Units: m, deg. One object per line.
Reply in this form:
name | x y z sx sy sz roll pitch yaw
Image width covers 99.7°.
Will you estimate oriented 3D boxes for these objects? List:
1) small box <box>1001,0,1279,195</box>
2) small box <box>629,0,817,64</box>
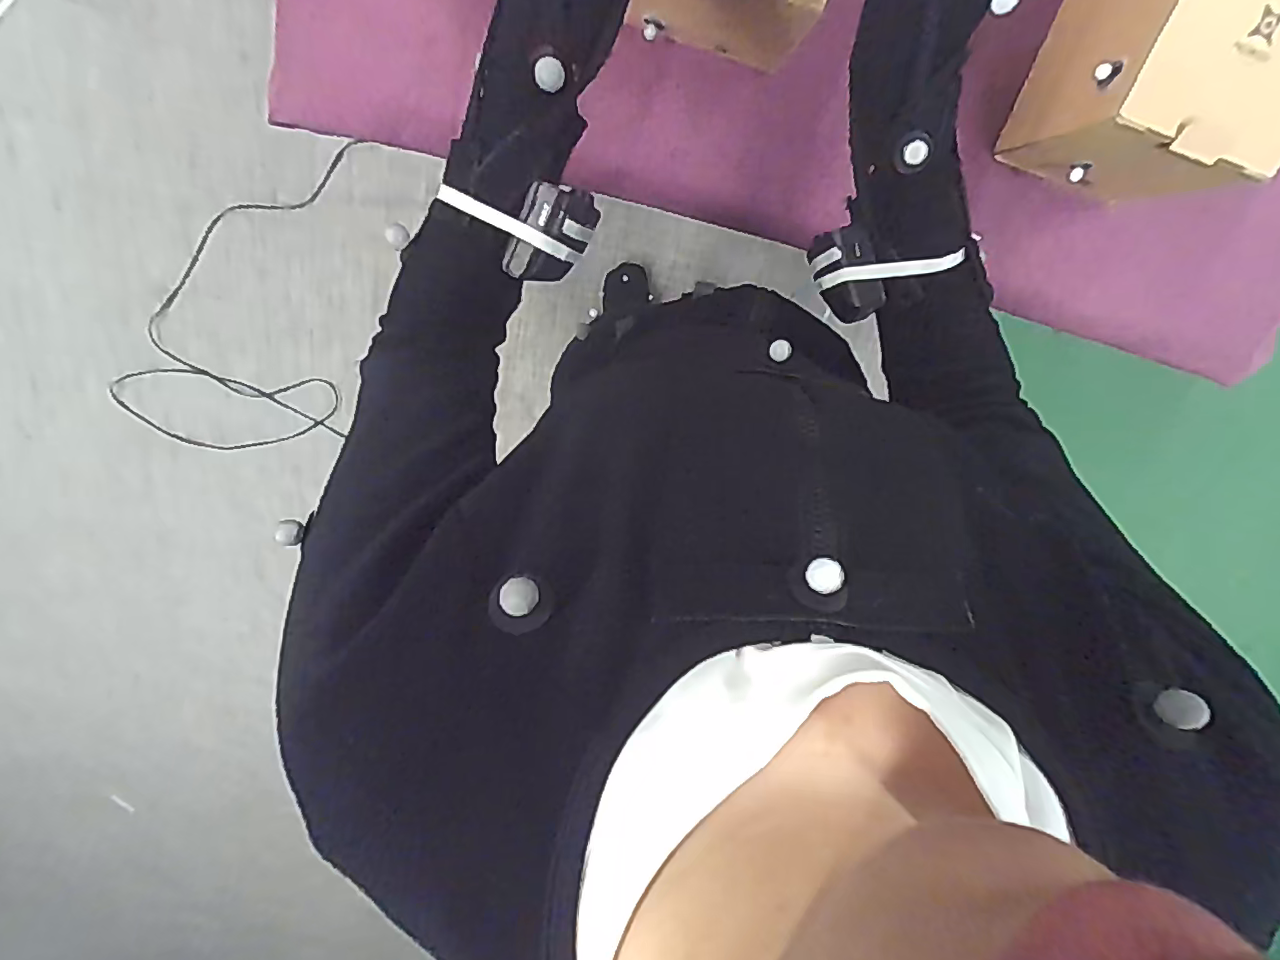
small box | 0.496 -0.395 0.513 0.168 0.176 0.179 15 111 -7
small box | 0.084 -0.498 0.459 0.168 0.176 0.179 14 111 -7
